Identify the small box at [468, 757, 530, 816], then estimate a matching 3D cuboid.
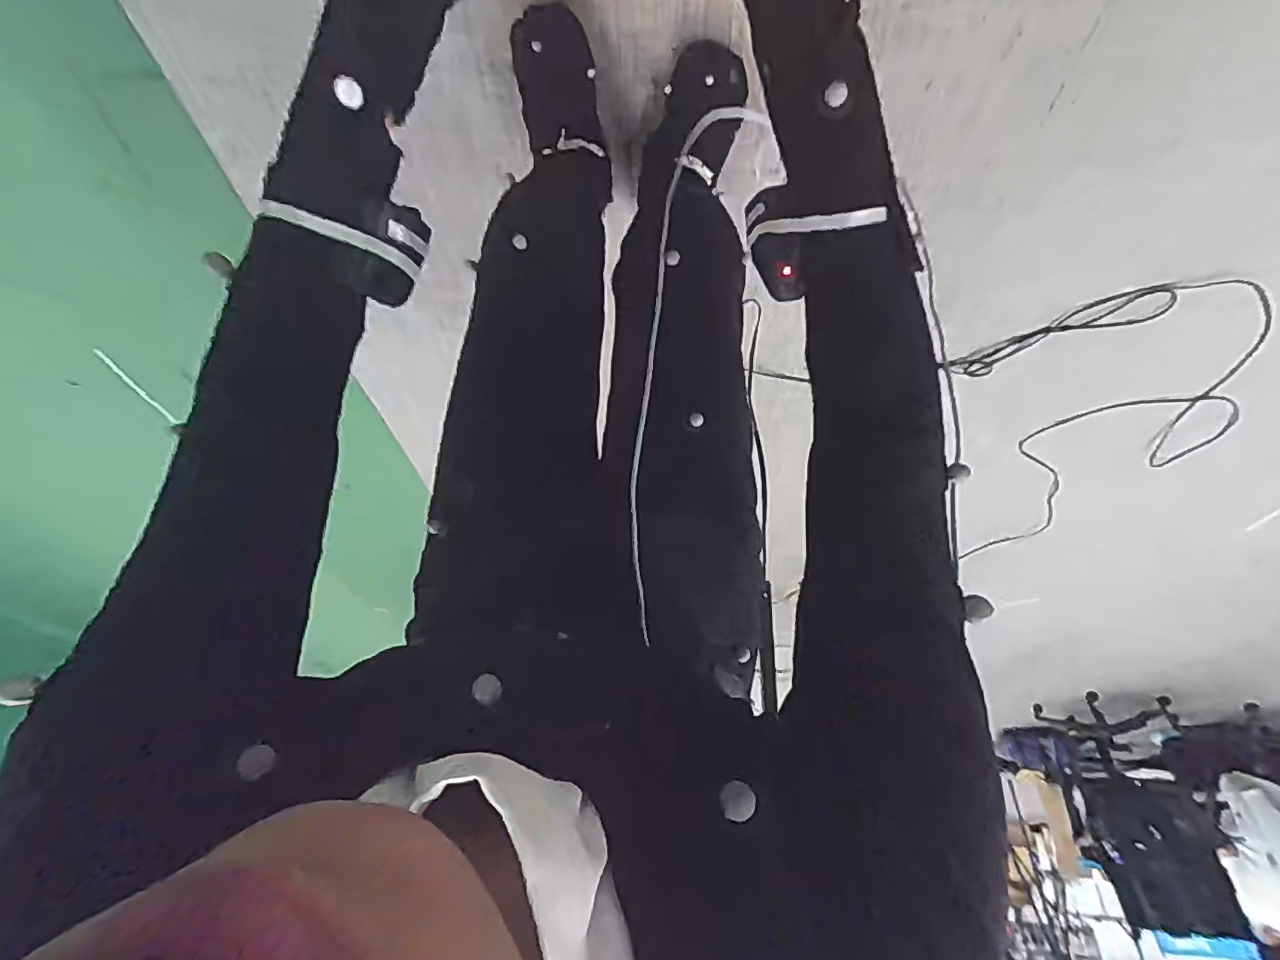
[{"bbox_3d":[-0.512,1.131,1.991,0.168,0.176,0.179,2,146,4],"label":"small box"}]
